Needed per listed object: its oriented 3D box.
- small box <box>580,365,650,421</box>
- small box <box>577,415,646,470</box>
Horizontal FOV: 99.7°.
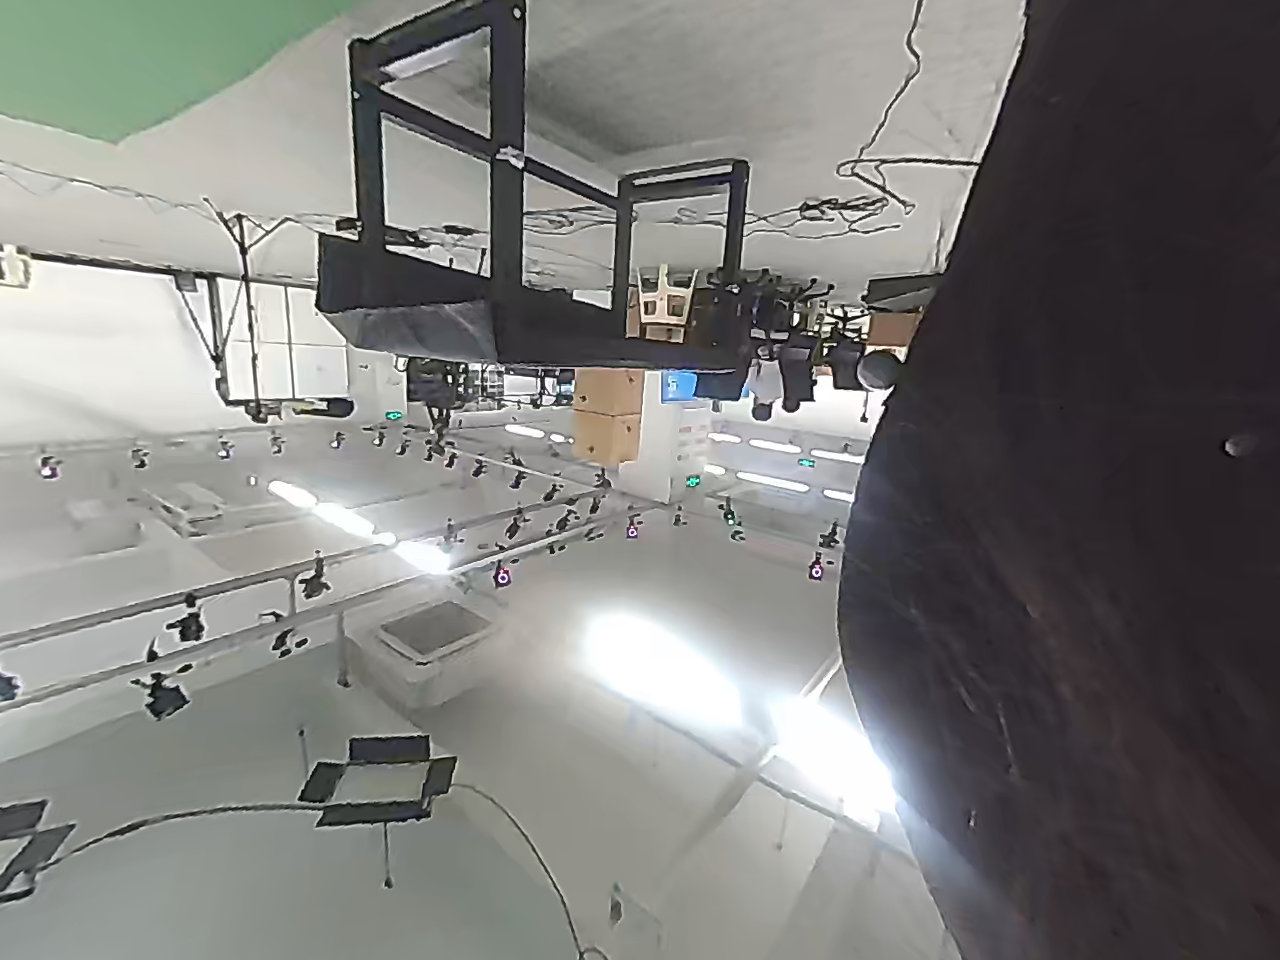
[{"bbox_3d":[-0.081,-0.297,1.825,0.179,0.176,0.168,14,-163,35],"label":"small box"},{"bbox_3d":[-0.094,-0.140,1.861,0.179,0.176,0.168,14,-164,35],"label":"small box"}]
